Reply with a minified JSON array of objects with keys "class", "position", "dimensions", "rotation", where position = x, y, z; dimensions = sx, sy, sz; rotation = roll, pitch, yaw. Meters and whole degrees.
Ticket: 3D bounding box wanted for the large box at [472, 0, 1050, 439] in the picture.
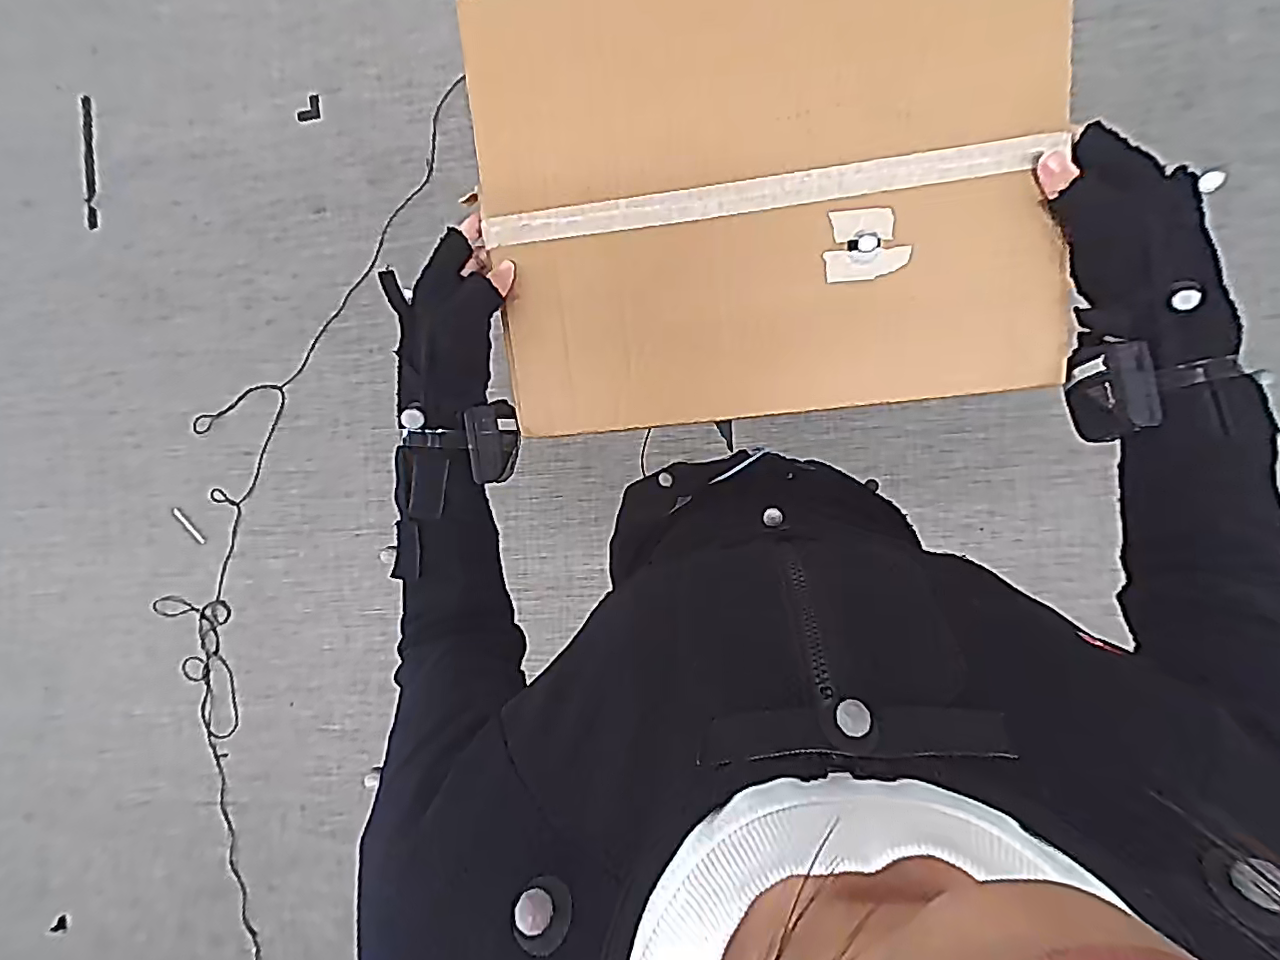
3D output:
[{"class":"large box","position":[0.099,-0.229,0.545],"dimensions":[0.408,0.320,0.320],"rotation":[-6,100,5]}]
